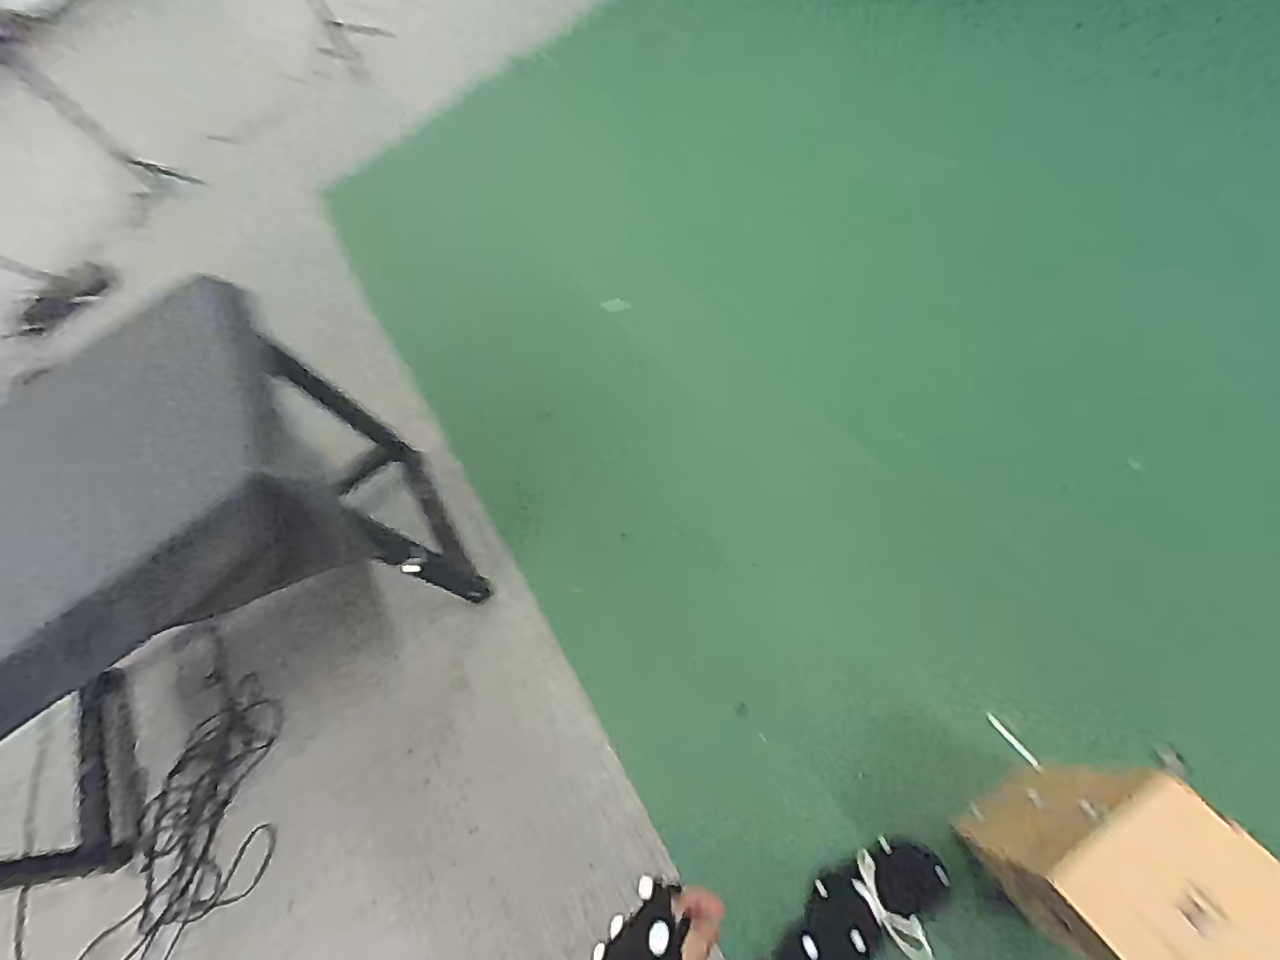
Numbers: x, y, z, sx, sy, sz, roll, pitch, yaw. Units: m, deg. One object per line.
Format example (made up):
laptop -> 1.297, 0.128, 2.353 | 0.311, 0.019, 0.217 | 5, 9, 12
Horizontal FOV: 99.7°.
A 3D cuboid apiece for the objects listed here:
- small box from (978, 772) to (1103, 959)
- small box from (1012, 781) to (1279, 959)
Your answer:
small box -> 0.591, 0.522, 0.725 | 0.179, 0.176, 0.168 | -38, 59, -4
small box -> 0.552, 0.451, 0.584 | 0.179, 0.176, 0.168 | -38, 58, -3
